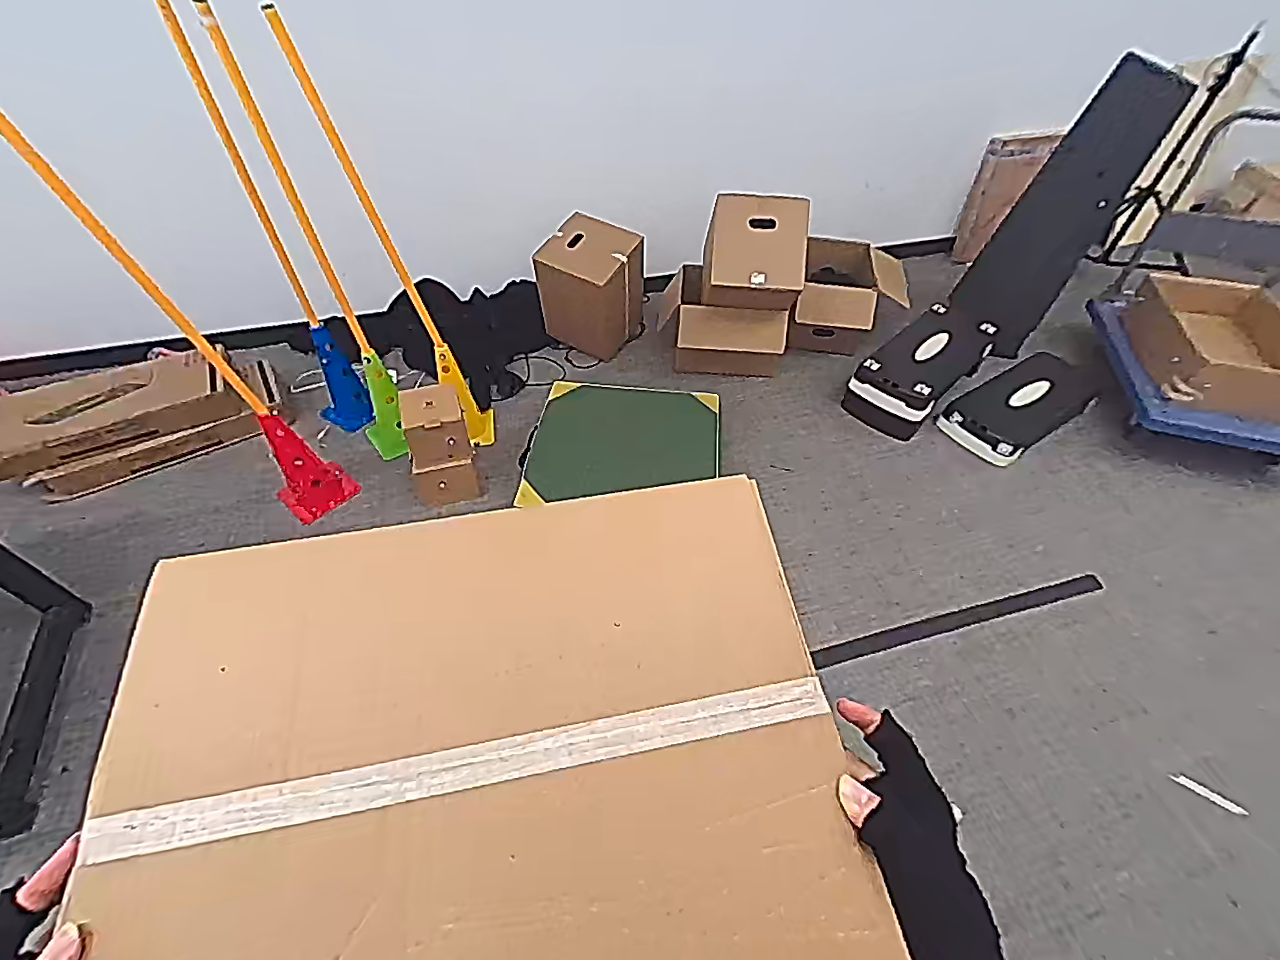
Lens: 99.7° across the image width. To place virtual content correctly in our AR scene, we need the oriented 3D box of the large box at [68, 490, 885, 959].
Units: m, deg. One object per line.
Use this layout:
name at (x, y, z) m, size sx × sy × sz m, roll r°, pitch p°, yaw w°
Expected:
large box at (-0.095, 0.239, 0.442) m, size 0.408 × 0.320 × 0.320 m, roll -8°, pitch 60°, yaw -6°
